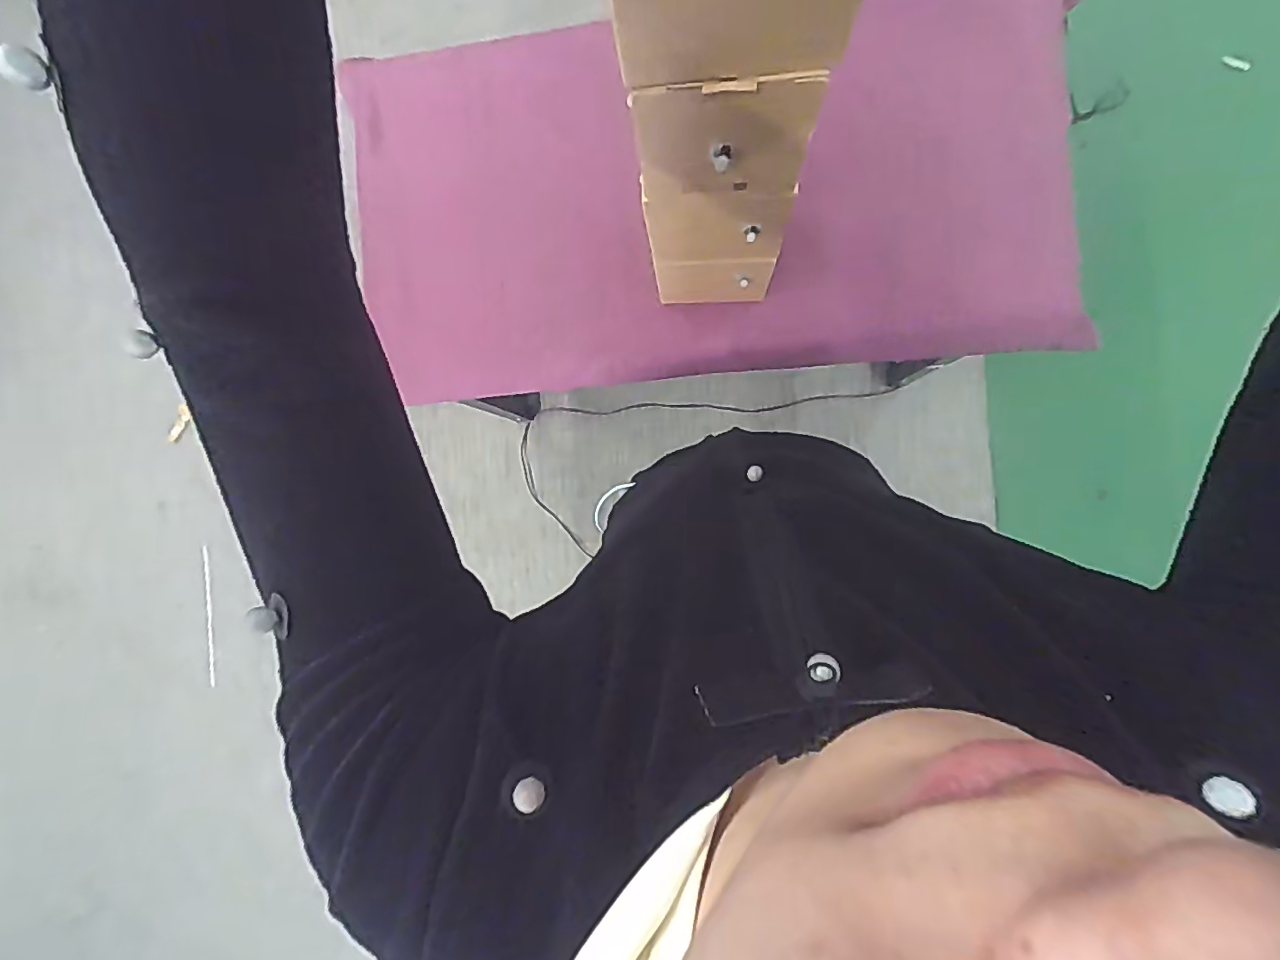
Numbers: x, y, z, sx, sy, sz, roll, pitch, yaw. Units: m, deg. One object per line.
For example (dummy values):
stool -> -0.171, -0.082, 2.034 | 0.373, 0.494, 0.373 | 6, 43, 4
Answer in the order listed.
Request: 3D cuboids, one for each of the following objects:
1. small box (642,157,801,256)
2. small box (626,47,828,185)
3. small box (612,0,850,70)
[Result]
small box -> 0.099, -0.396, 0.679 | 0.179, 0.176, 0.168 | 1, 89, 7
small box -> 0.081, -0.406, 0.518 | 0.168, 0.176, 0.179 | 1, 89, 6
small box -> 0.062, -0.412, 0.354 | 0.179, 0.176, 0.168 | -1, 89, 6
